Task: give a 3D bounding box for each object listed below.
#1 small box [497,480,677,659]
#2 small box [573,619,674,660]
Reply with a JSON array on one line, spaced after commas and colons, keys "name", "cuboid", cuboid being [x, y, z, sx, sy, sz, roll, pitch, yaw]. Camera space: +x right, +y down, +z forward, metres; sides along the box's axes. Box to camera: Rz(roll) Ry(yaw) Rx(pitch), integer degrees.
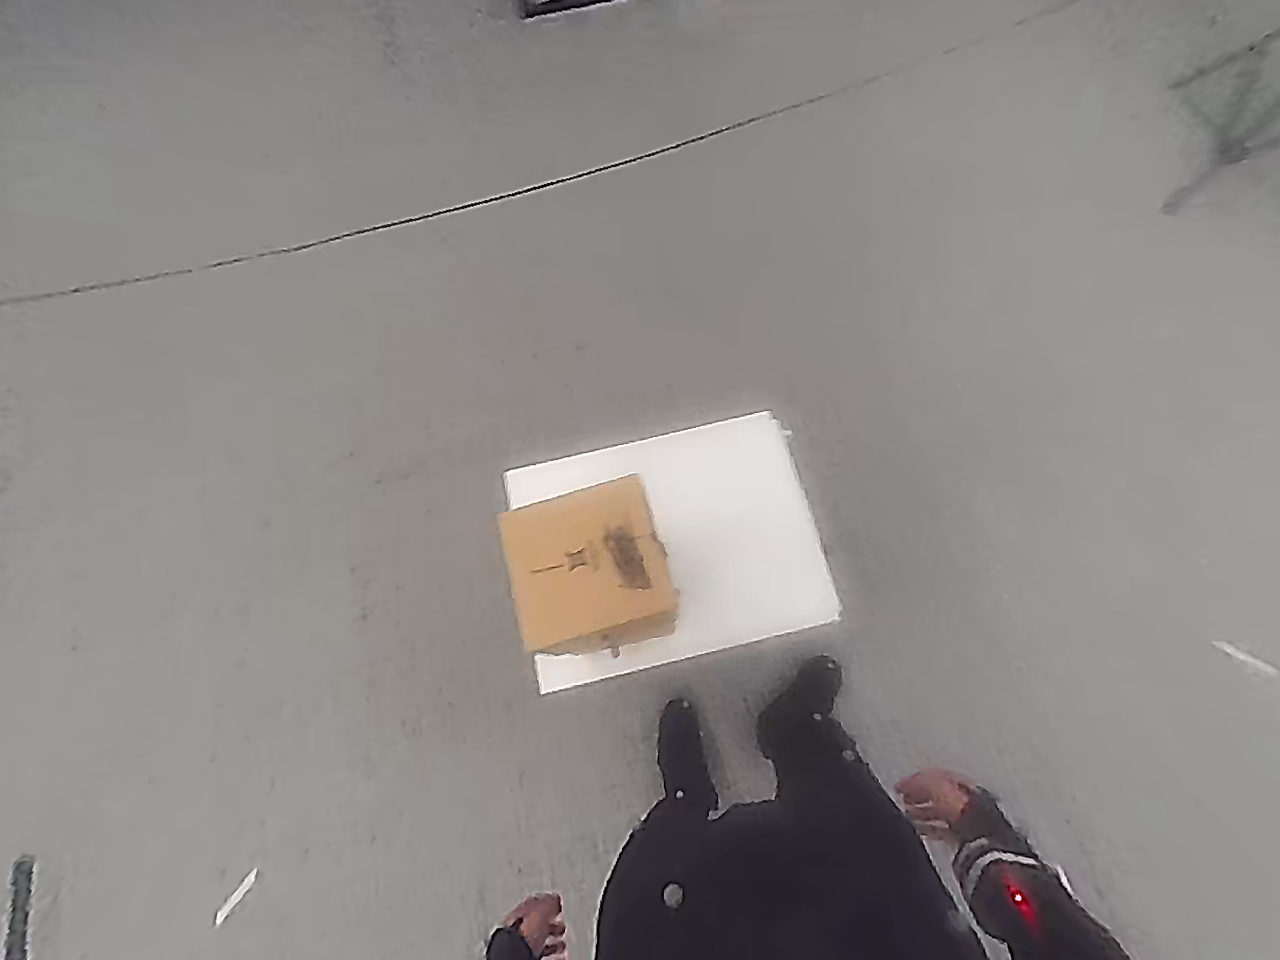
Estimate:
[{"name": "small box", "cuboid": [-0.060, 0.121, 0.685, 0.179, 0.176, 0.168, -17, 70, -2]}, {"name": "small box", "cuboid": [-0.048, 0.173, 0.841, 0.168, 0.176, 0.179, -13, 71, -2]}]
